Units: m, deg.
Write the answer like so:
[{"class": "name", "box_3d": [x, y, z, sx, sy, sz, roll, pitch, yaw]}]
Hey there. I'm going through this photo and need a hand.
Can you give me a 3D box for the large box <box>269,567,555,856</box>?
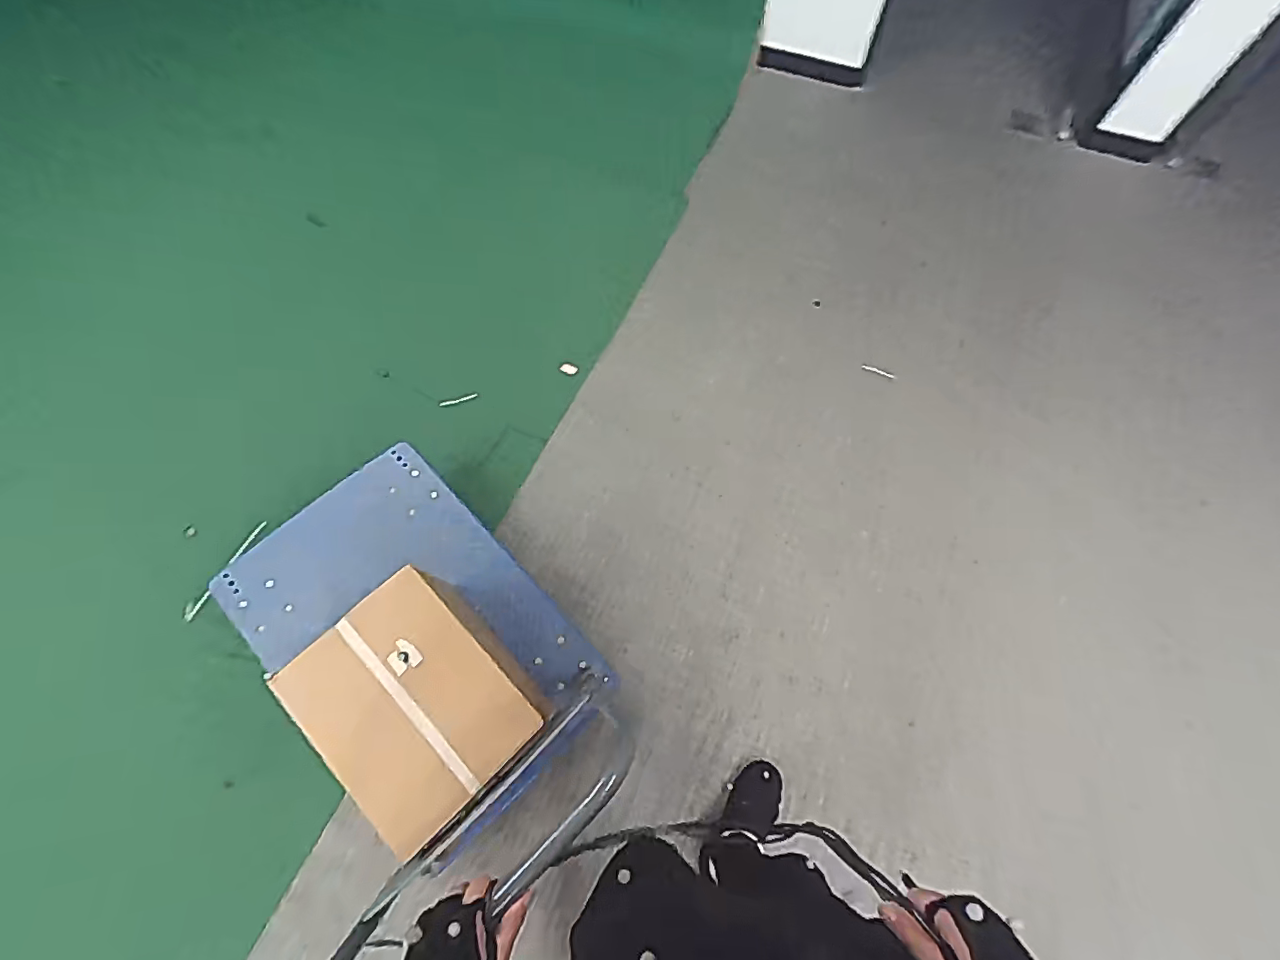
[{"class": "large box", "box_3d": [-0.431, 0.447, 1.116, 0.320, 0.320, 0.408, -42, 79, -16]}]
